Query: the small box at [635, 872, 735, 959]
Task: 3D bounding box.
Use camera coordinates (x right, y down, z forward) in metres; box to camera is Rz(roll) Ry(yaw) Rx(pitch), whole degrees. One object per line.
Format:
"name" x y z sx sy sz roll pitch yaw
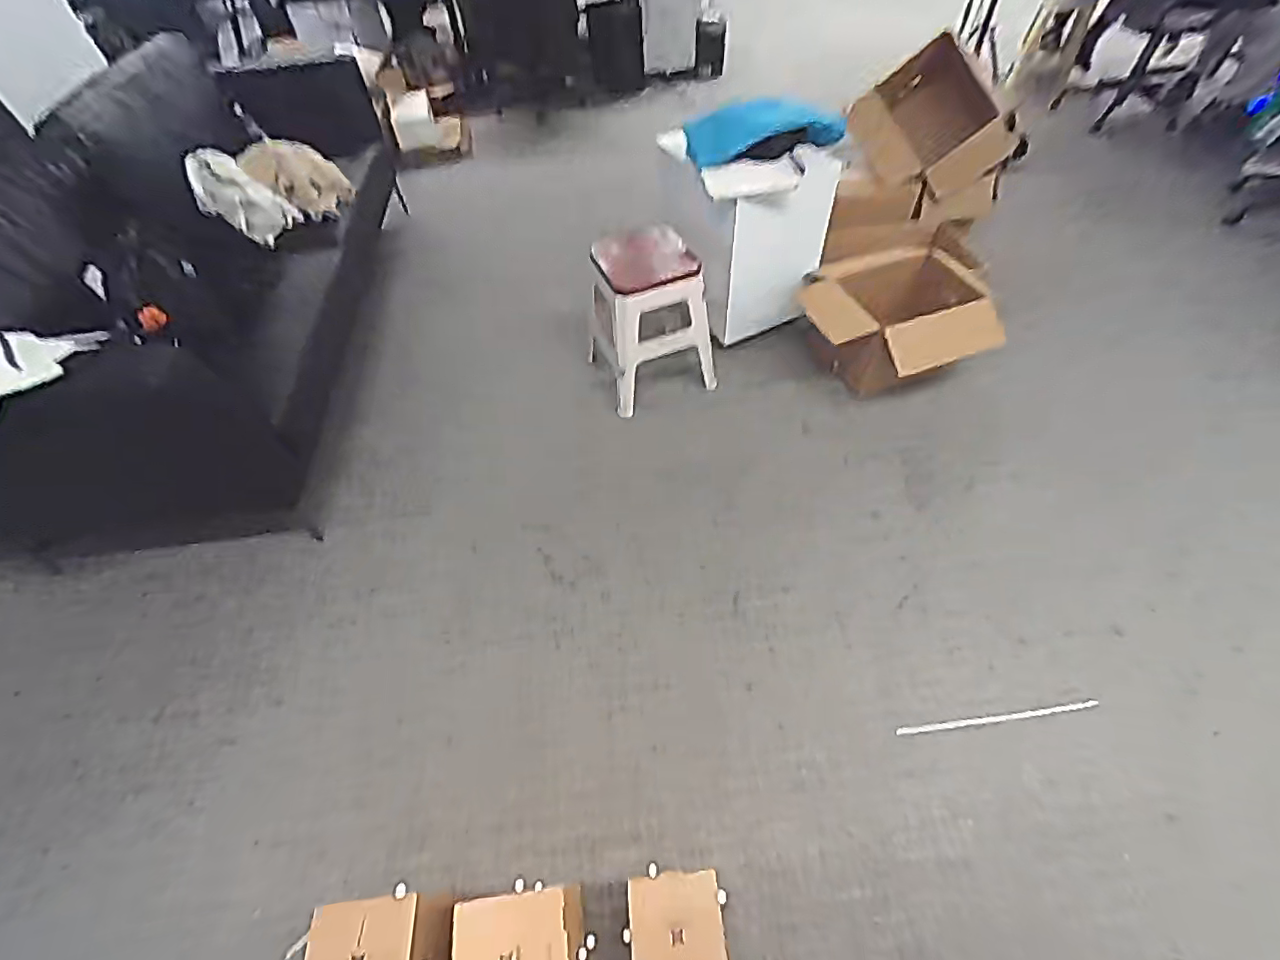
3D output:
"small box" 0.082 0.847 1.001 0.168 0.176 0.179 -7 52 0

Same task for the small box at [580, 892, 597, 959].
"small box" -0.173 0.881 0.992 0.168 0.176 0.179 -9 51 -1

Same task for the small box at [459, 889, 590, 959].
"small box" -0.179 0.777 0.868 0.179 0.176 0.168 -9 52 -3
